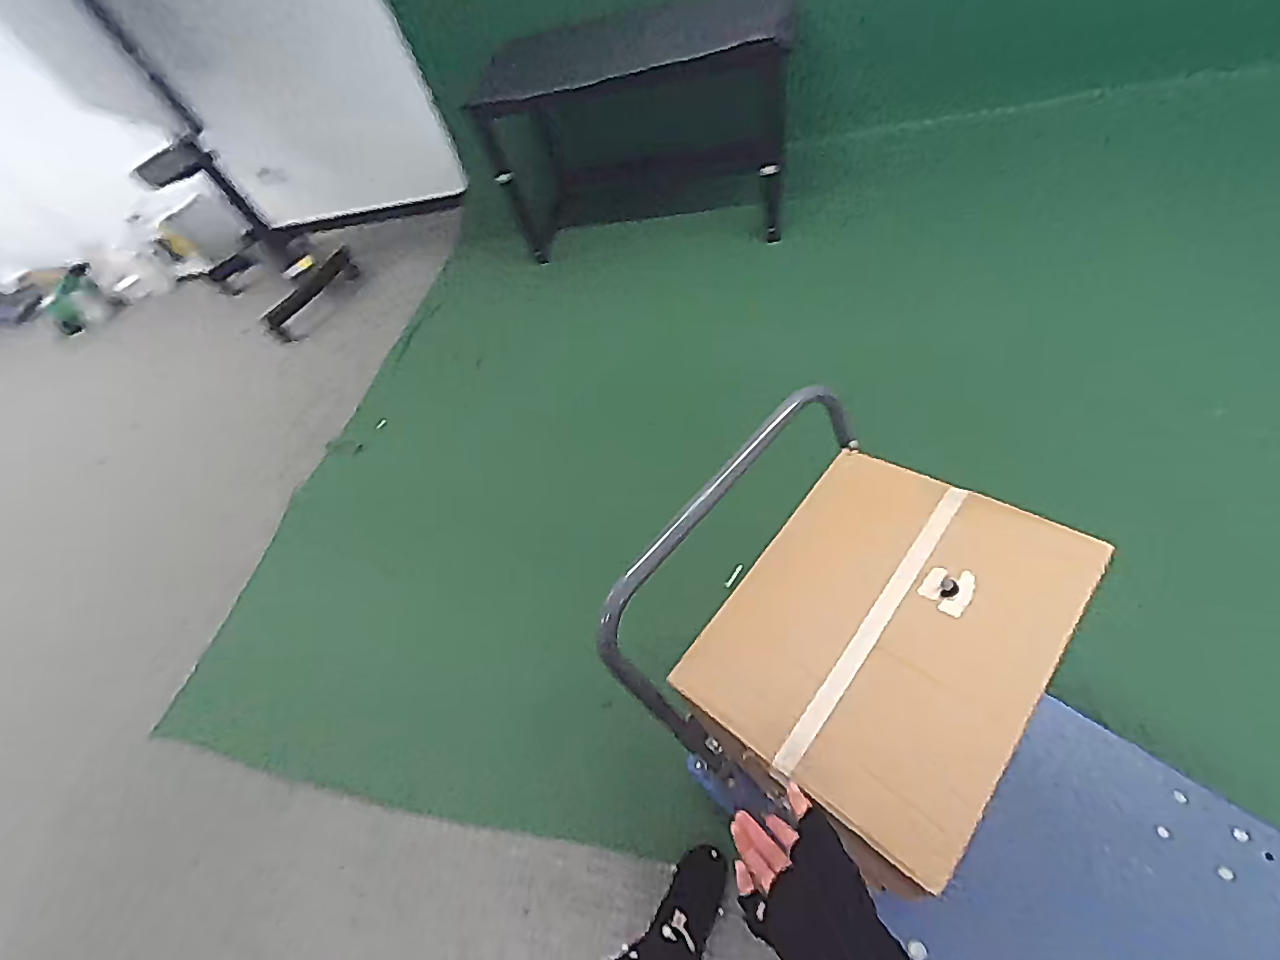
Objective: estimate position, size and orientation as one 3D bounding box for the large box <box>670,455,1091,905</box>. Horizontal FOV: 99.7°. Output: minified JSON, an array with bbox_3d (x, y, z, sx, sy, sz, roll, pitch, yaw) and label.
[{"bbox_3d":[0.307,0.248,0.720,0.320,0.320,0.408,28,66,37],"label":"large box"}]
